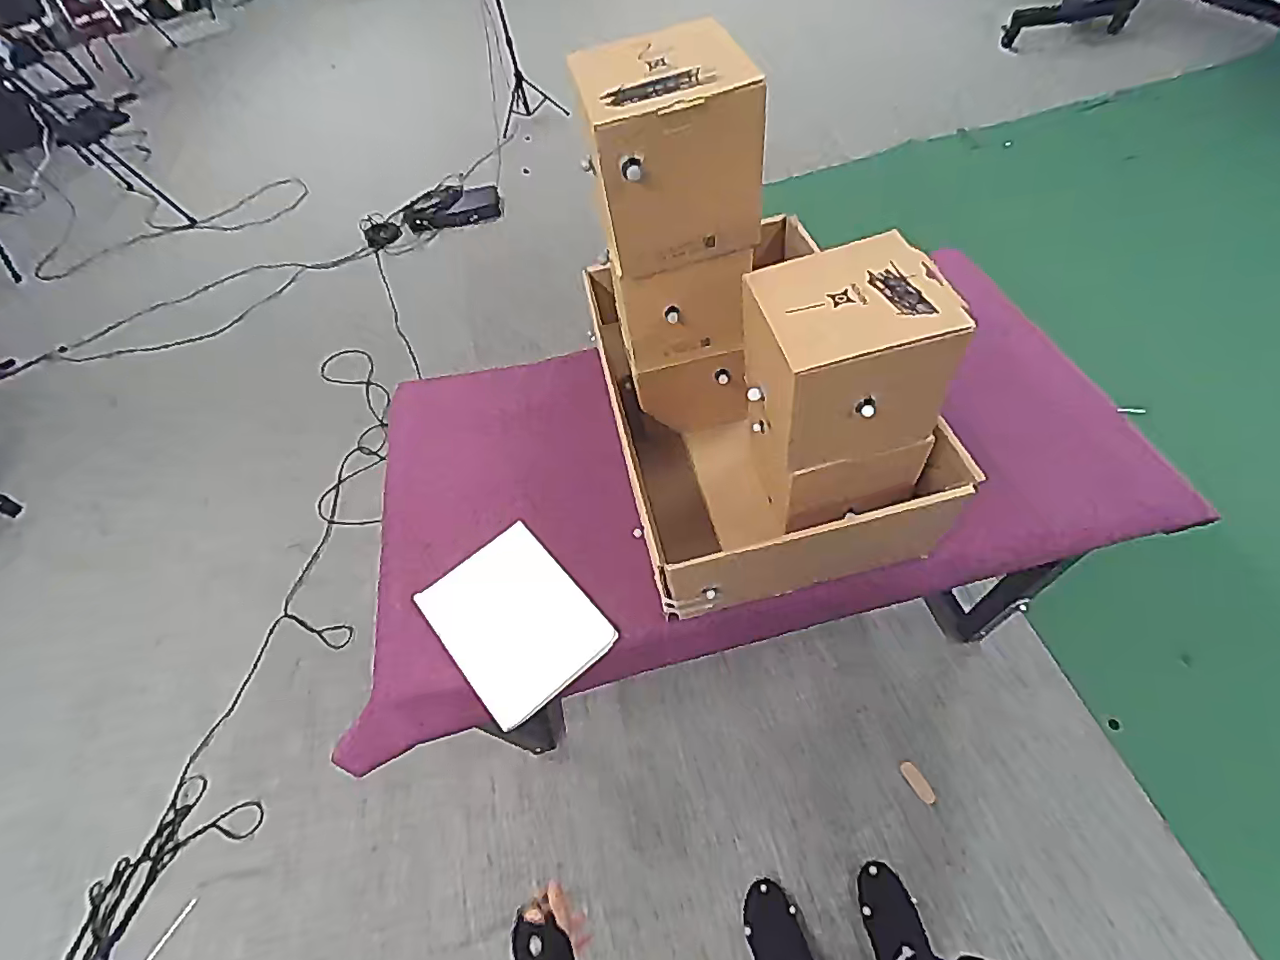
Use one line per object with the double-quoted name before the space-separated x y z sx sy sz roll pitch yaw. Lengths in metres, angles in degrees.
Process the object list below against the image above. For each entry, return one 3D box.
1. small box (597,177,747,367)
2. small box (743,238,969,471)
"small box" 0.047 -0.277 0.751 0.168 0.176 0.179 -13 56 1
"small box" 0.222 -0.135 0.613 0.179 0.176 0.168 -15 53 3
